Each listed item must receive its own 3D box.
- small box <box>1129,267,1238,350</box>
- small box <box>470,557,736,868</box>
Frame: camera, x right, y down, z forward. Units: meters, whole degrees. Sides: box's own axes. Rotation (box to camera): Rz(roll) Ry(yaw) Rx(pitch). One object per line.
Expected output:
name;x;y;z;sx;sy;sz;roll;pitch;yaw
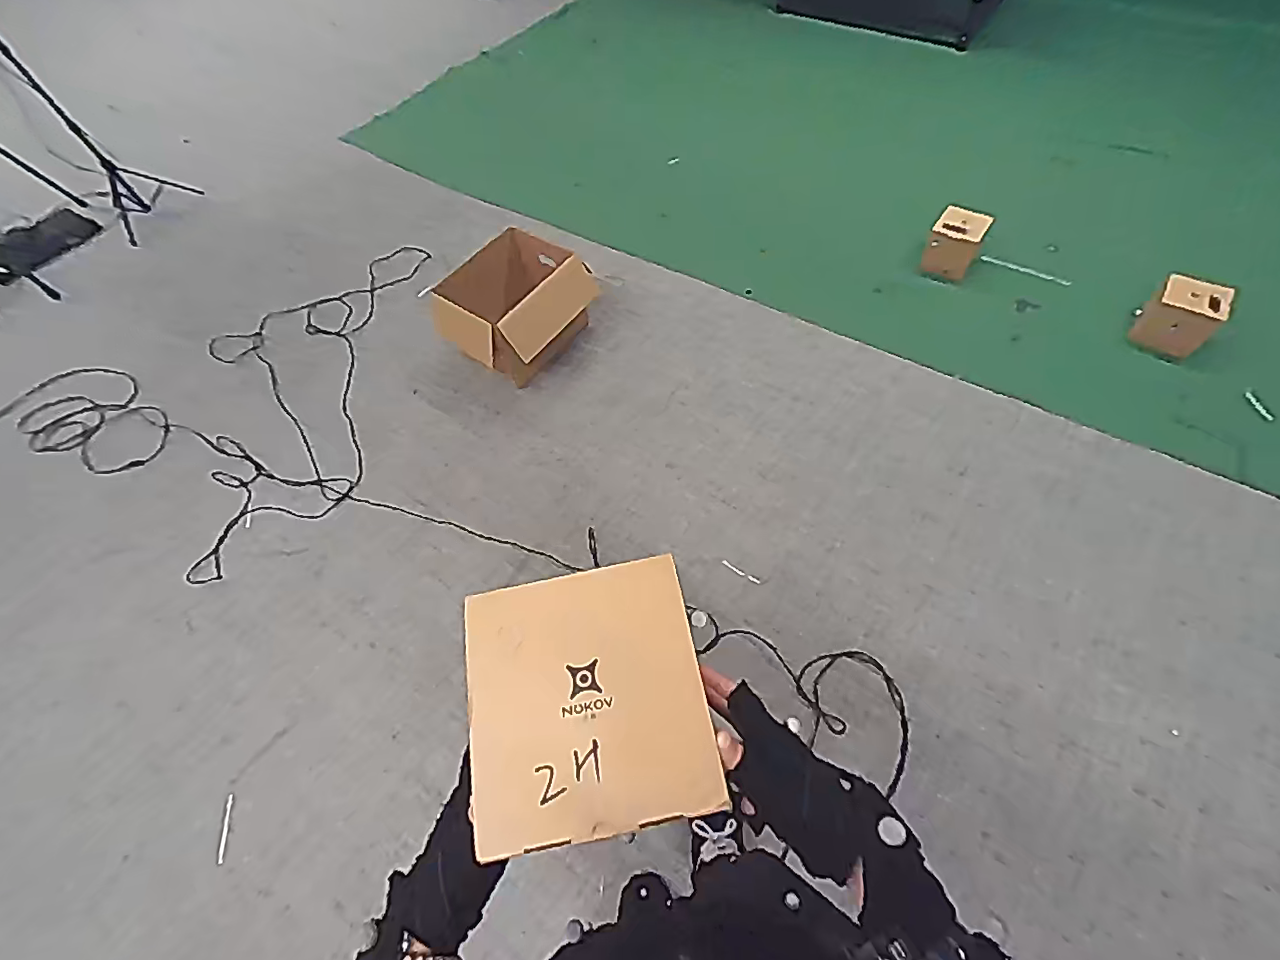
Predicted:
small box;1.763;-0.550;1.760;0.179;0.176;0.168;30;66;21
small box;-0.029;0.183;0.439;0.168;0.176;0.179;-12;63;0
